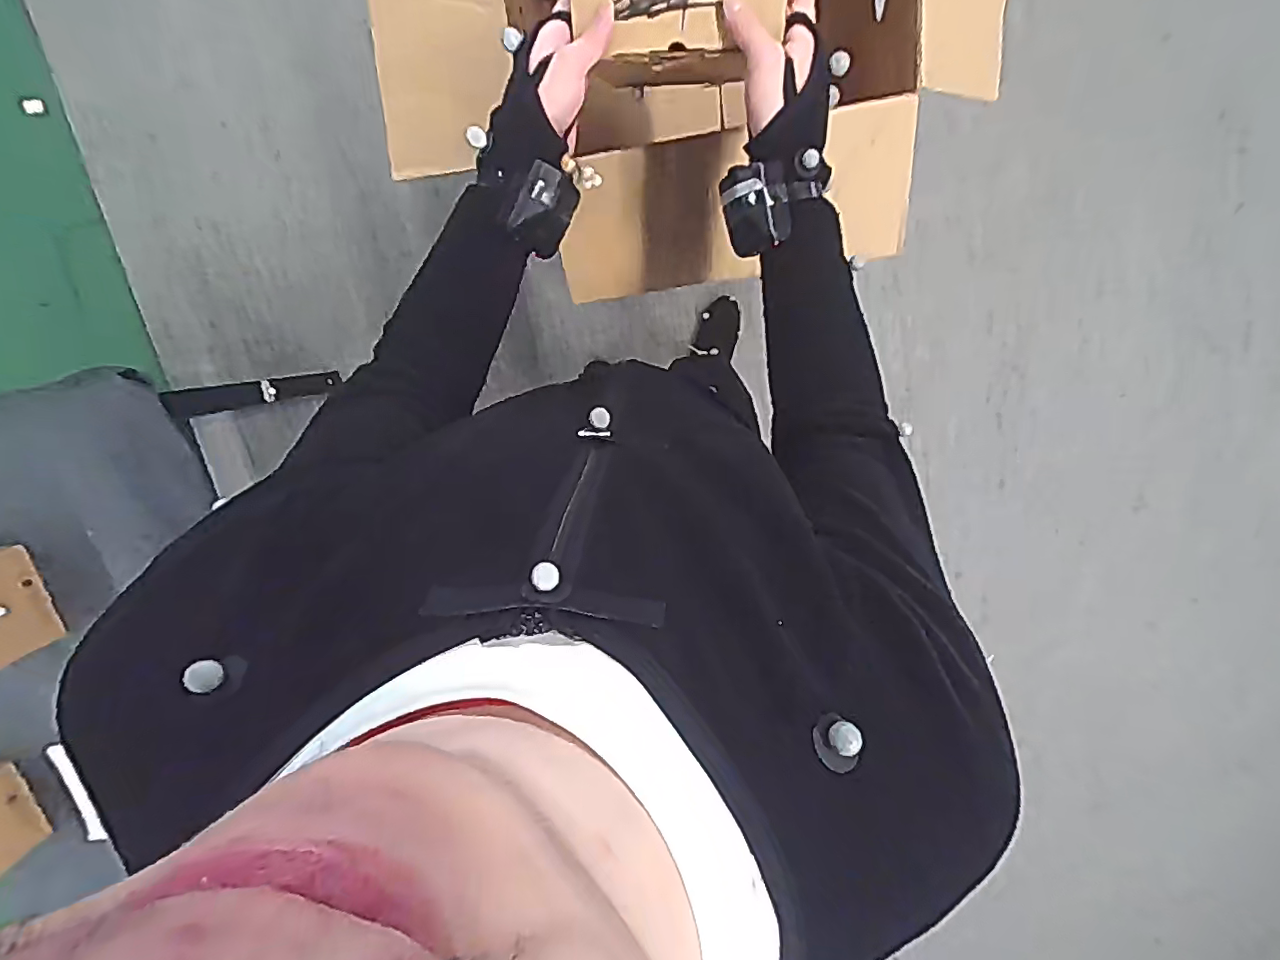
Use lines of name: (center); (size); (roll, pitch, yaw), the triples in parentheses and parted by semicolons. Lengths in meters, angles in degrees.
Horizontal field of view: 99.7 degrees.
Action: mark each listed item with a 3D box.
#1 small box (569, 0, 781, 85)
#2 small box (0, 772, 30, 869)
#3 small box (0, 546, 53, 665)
small box: (0.035, -0.449, 0.456); (0.168, 0.176, 0.179); (2, 119, 6)
small box: (-1.187, 0.610, 0.892); (0.179, 0.176, 0.168); (-11, 104, 3)
small box: (-1.049, 0.210, 0.802); (0.179, 0.176, 0.168); (-10, 104, 1)
